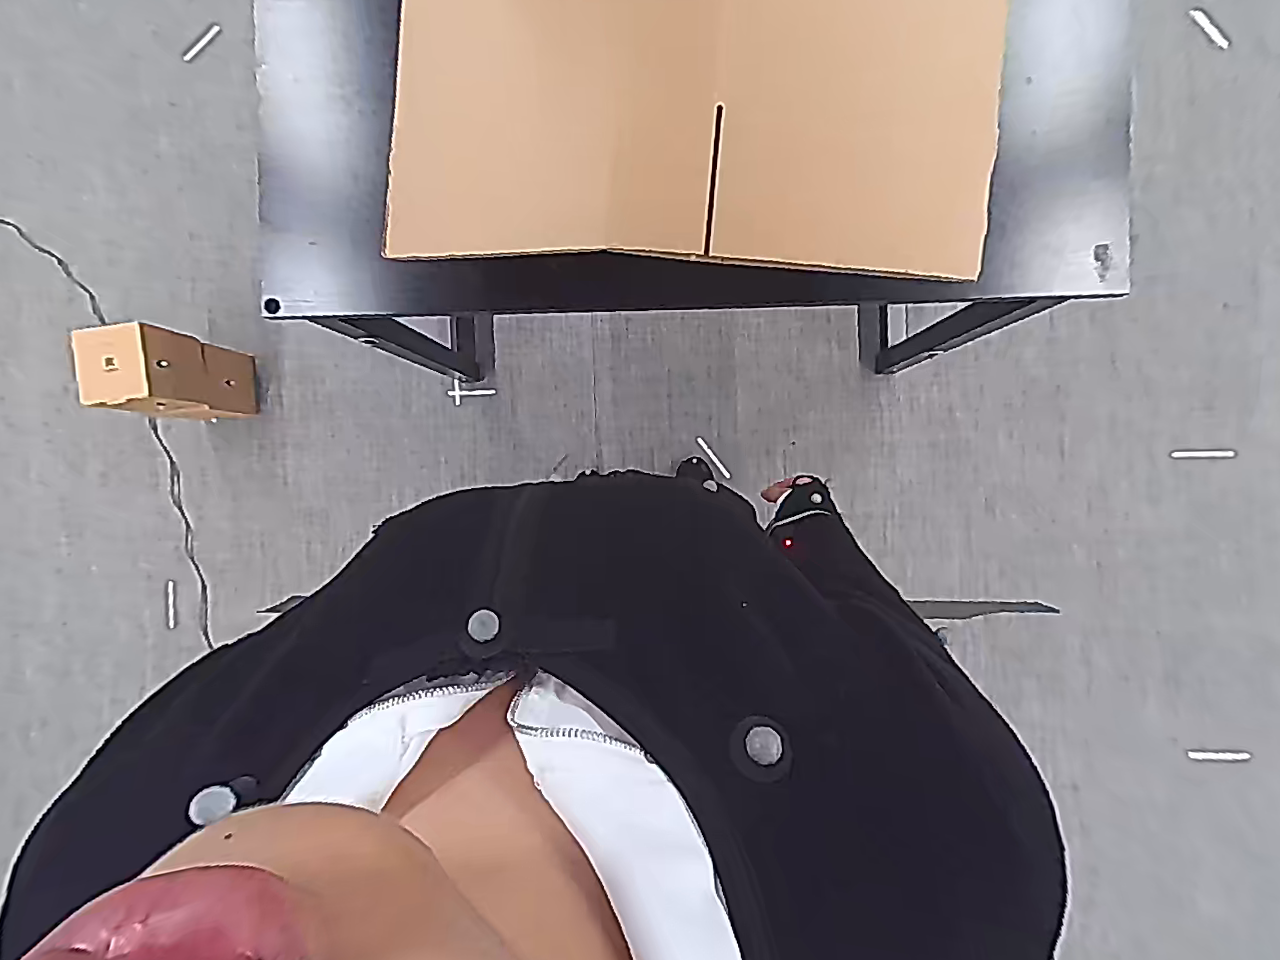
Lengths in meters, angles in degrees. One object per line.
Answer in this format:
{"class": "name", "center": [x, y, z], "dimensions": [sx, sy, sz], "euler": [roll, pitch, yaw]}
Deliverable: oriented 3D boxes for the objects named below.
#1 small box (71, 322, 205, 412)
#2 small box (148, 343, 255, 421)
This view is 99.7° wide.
{"class": "small box", "center": [-1.198, -0.263, 1.304], "dimensions": [0.168, 0.176, 0.179], "euler": [-8, 90, 2]}
{"class": "small box", "center": [-1.188, -0.260, 1.467], "dimensions": [0.168, 0.176, 0.179], "euler": [-5, 92, 3]}
